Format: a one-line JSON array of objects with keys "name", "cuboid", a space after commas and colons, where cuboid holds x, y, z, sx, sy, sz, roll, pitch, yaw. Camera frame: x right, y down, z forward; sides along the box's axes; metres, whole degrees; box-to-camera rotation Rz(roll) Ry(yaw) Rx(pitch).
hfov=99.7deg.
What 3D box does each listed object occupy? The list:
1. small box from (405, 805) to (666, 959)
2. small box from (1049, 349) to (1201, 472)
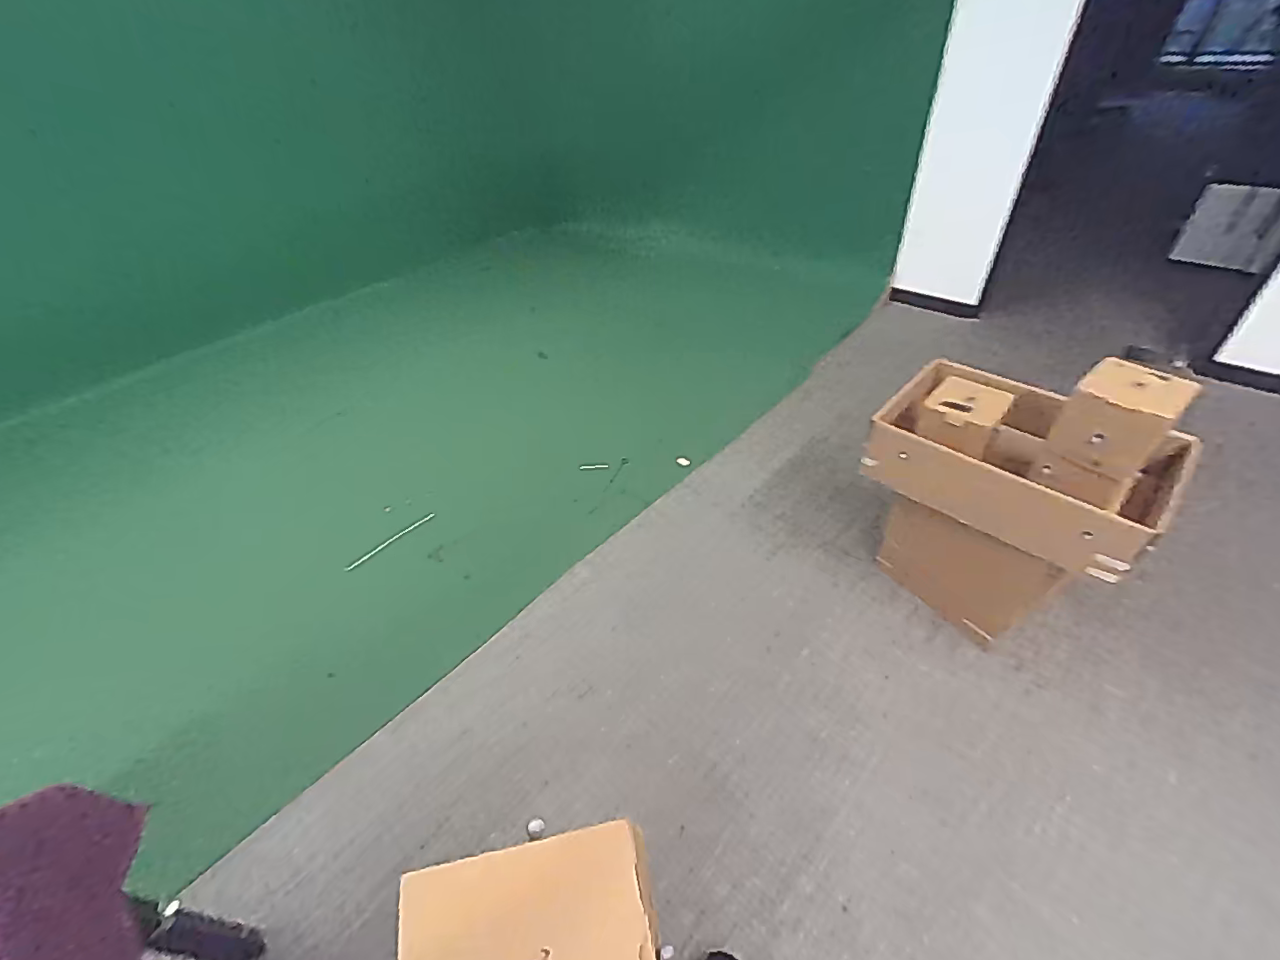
[{"name": "small box", "cuboid": [-0.072, 0.381, 0.438, 0.179, 0.176, 0.168, -10, 56, -5]}, {"name": "small box", "cuboid": [1.021, -0.146, 1.154, 0.179, 0.176, 0.168, -33, 49, -23]}]
